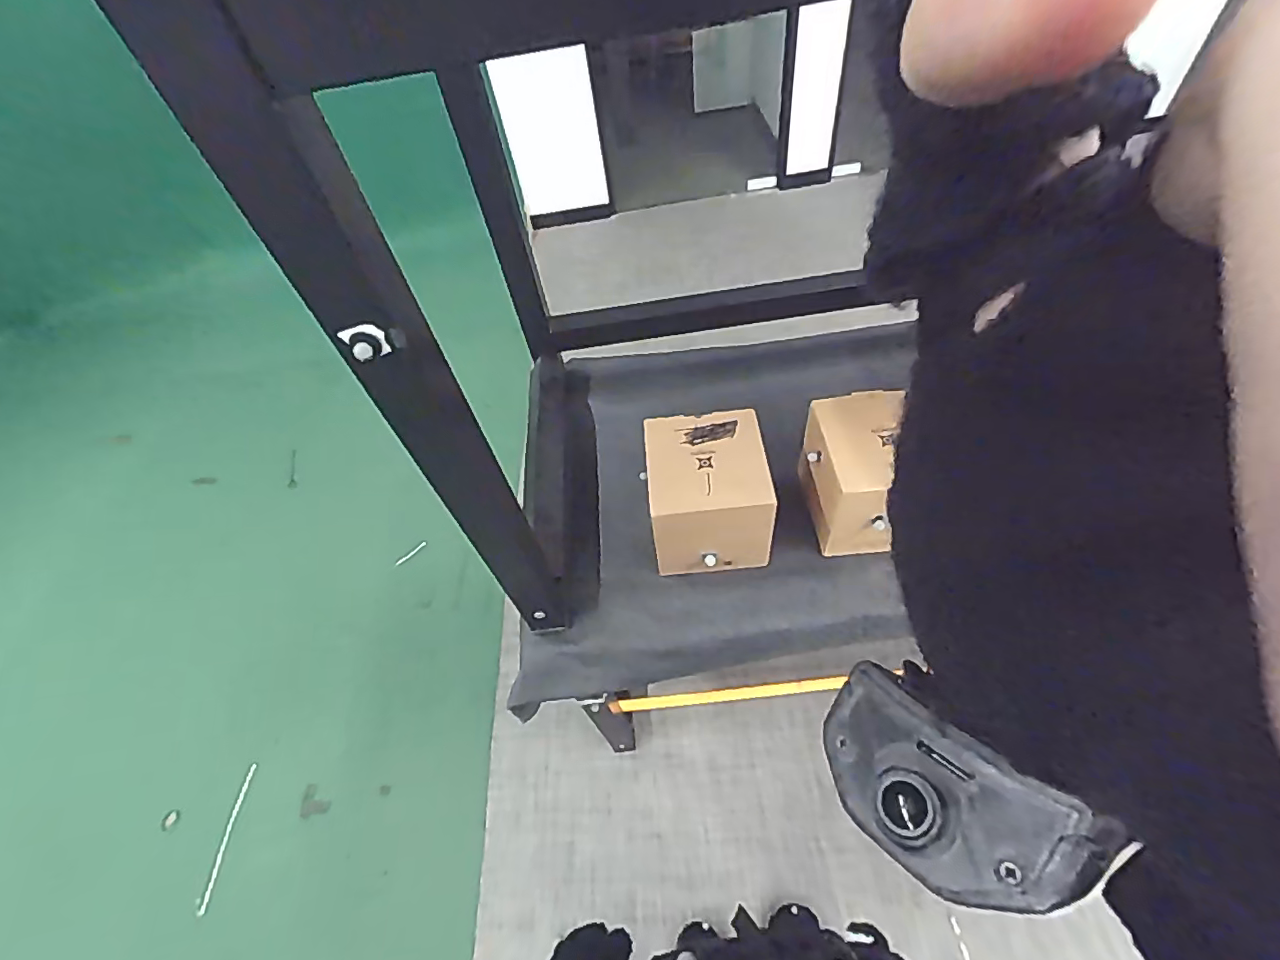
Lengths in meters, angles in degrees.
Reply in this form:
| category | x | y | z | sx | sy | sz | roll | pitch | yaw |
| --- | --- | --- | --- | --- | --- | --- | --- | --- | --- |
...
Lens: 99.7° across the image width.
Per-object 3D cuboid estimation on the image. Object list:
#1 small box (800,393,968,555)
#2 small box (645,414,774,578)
| category | x | y | z | sx | sy | sz | roll | pitch | yaw |
| --- | --- | --- | --- | --- | --- | --- | --- | --- | --- |
| small box | 0.342 | -0.001 | 0.797 | 0.168 | 0.176 | 0.179 | -6 | 51 | 4 |
| small box | 0.098 | 0.026 | 0.812 | 0.168 | 0.176 | 0.179 | -6 | 52 | 4 |
